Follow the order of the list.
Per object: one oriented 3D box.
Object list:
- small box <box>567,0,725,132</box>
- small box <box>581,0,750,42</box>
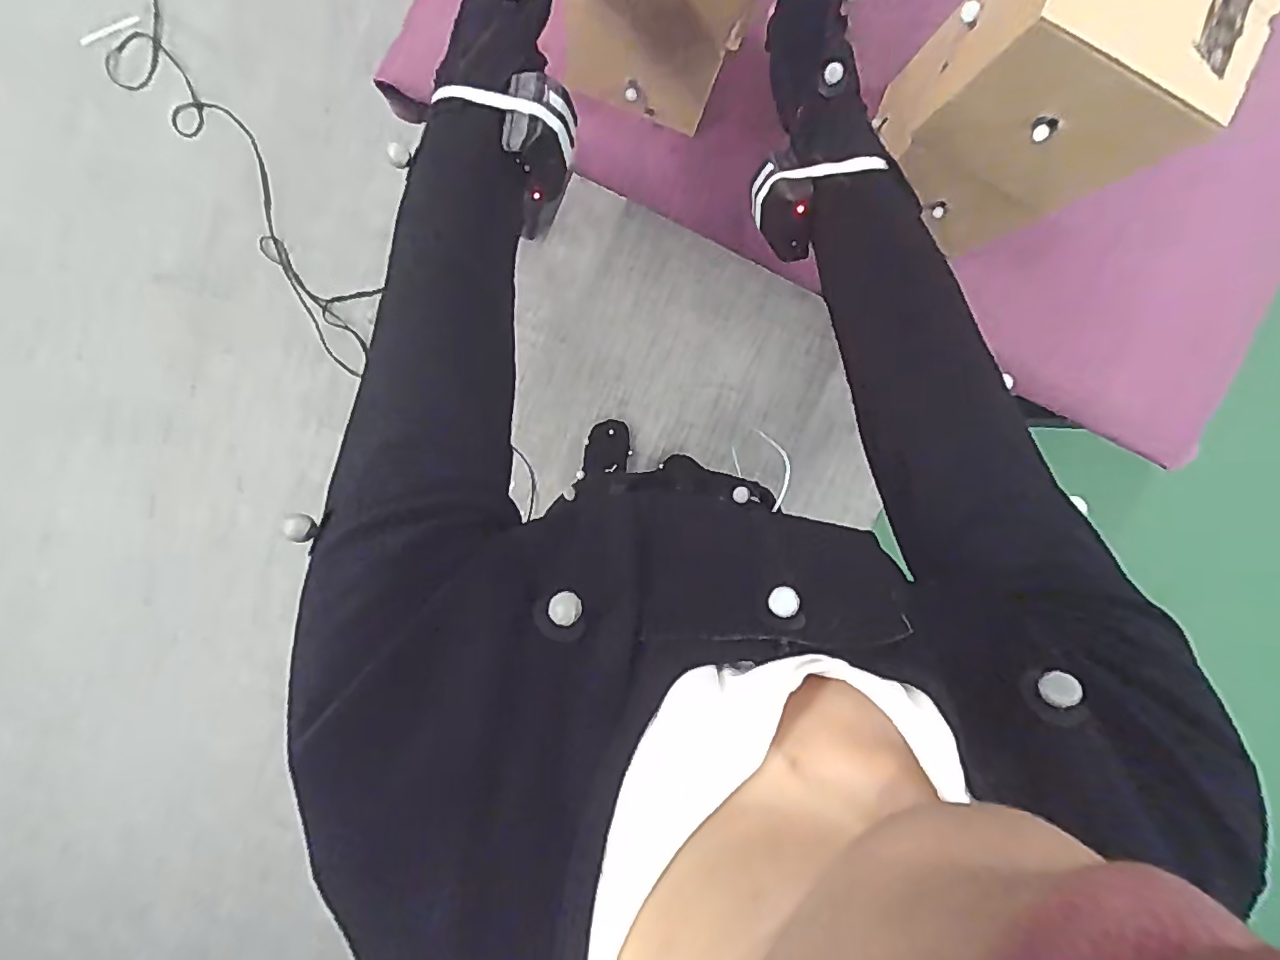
[{"bbox_3d":[0.018,-0.536,0.594,0.168,0.176,0.179,17,95,-8],"label":"small box"},{"bbox_3d":[0.035,-0.507,0.434,0.179,0.176,0.168,12,95,-7],"label":"small box"}]
